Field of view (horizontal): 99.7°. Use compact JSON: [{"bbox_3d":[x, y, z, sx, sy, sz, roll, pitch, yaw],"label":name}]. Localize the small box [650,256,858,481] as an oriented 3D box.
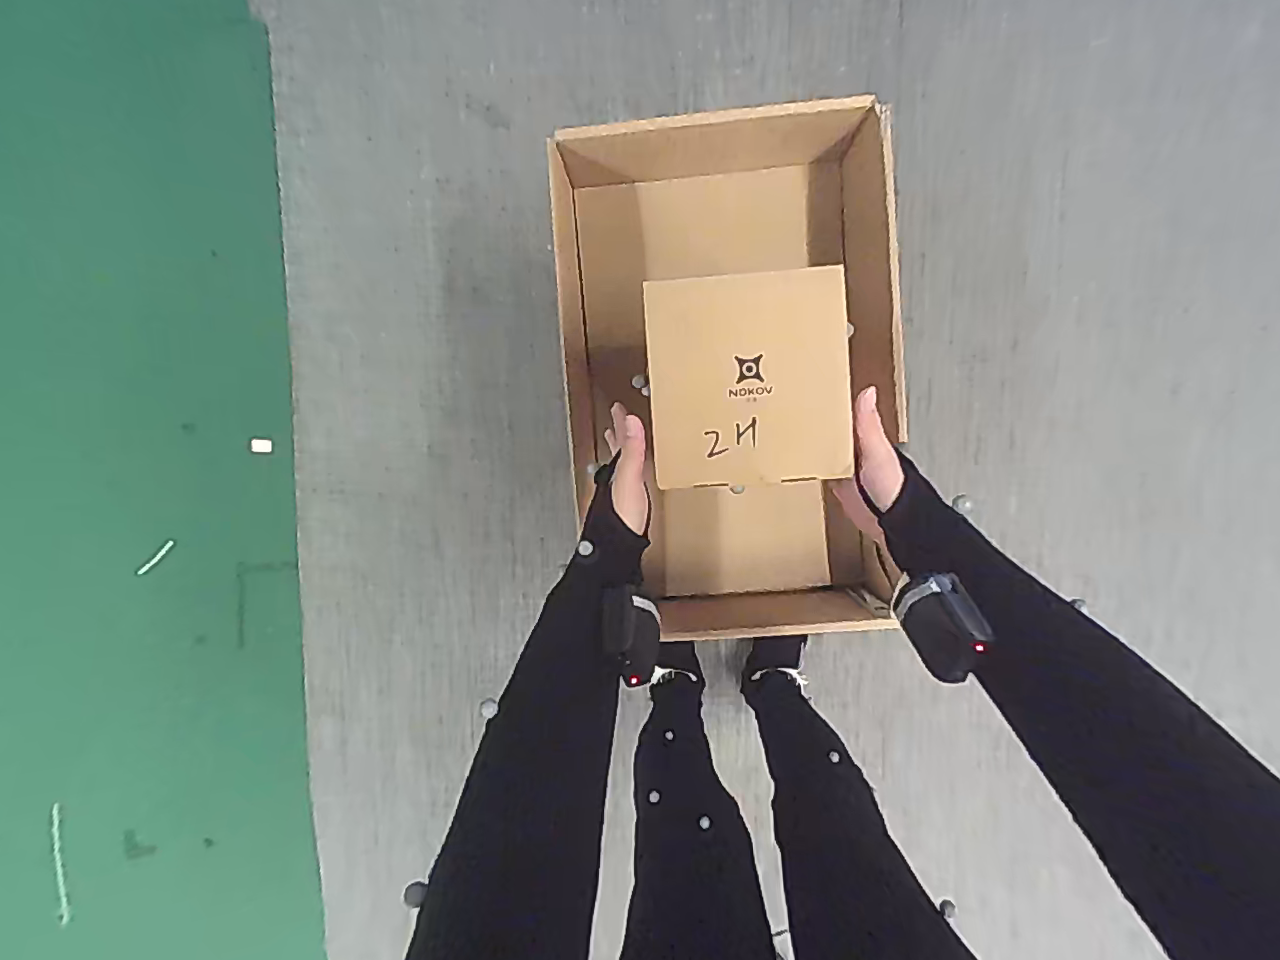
[{"bbox_3d":[0.095,-0.094,0.520,0.168,0.176,0.179,-4,94,3],"label":"small box"}]
